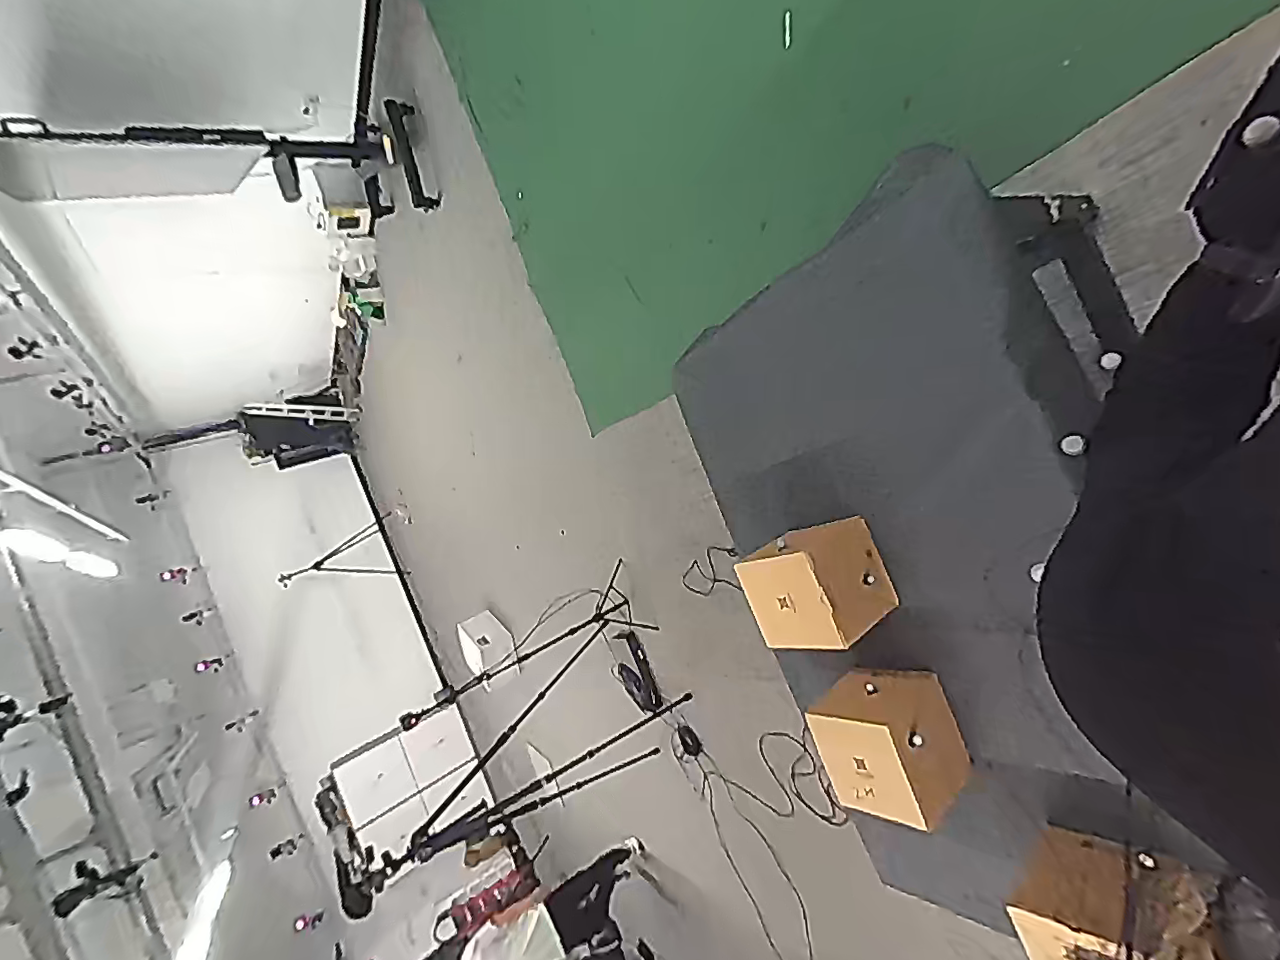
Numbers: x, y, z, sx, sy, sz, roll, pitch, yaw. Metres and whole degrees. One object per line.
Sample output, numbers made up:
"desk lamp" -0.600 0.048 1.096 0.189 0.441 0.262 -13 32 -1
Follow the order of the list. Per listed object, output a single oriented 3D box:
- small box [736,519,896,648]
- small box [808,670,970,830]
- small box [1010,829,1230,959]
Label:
"small box" 0.311 0.184 0.959 0.179 0.176 0.168 -26 86 55
"small box" 0.428 0.446 0.931 0.168 0.176 0.179 -23 88 54
"small box" 0.647 0.619 0.728 0.168 0.176 0.179 -26 86 56
